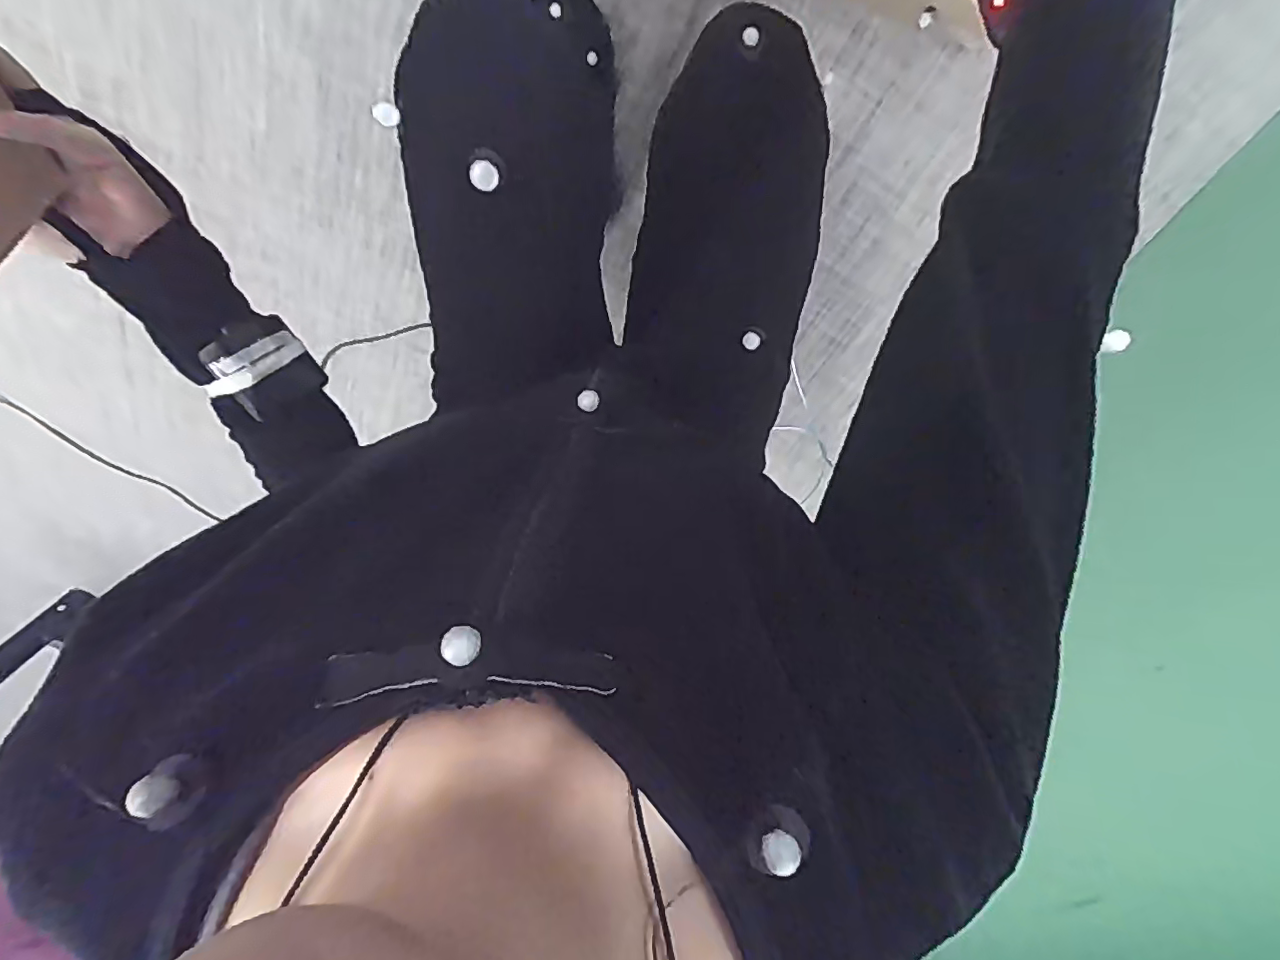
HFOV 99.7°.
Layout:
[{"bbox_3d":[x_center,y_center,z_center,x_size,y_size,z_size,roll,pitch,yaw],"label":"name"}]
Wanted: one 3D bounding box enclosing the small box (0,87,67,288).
[{"bbox_3d":[-0.395,-0.151,0.199,0.168,0.176,0.179,13,153,-14],"label":"small box"}]
